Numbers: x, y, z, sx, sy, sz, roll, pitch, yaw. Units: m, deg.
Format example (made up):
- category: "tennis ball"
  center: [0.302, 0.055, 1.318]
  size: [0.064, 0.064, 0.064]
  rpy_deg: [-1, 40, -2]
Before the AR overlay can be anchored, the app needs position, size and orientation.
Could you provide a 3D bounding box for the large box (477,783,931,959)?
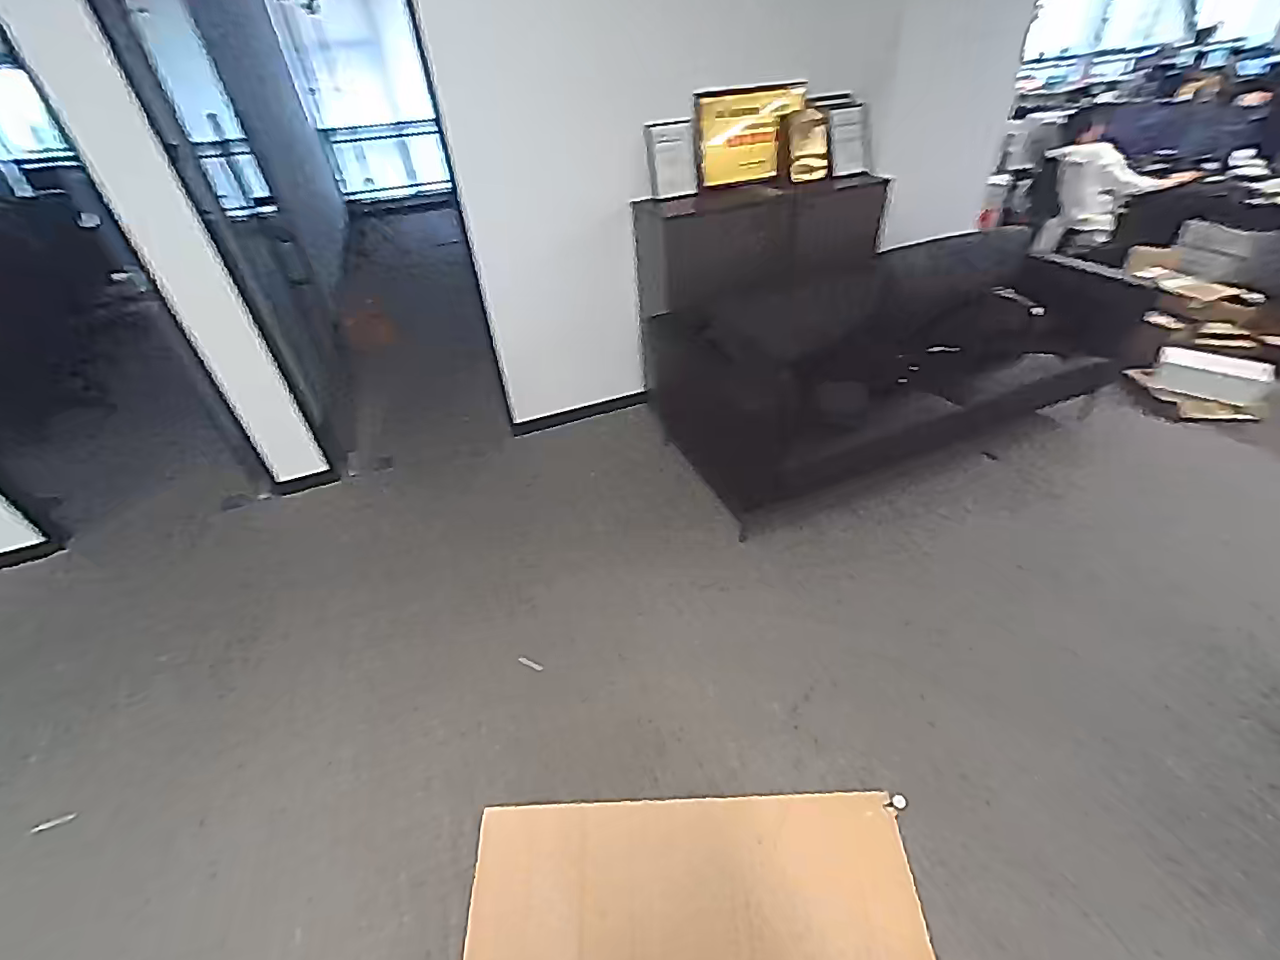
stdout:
- category: "large box"
  center: [0.056, 0.536, 0.567]
  size: [0.408, 0.320, 0.320]
  rpy_deg: [-3, 52, -3]
